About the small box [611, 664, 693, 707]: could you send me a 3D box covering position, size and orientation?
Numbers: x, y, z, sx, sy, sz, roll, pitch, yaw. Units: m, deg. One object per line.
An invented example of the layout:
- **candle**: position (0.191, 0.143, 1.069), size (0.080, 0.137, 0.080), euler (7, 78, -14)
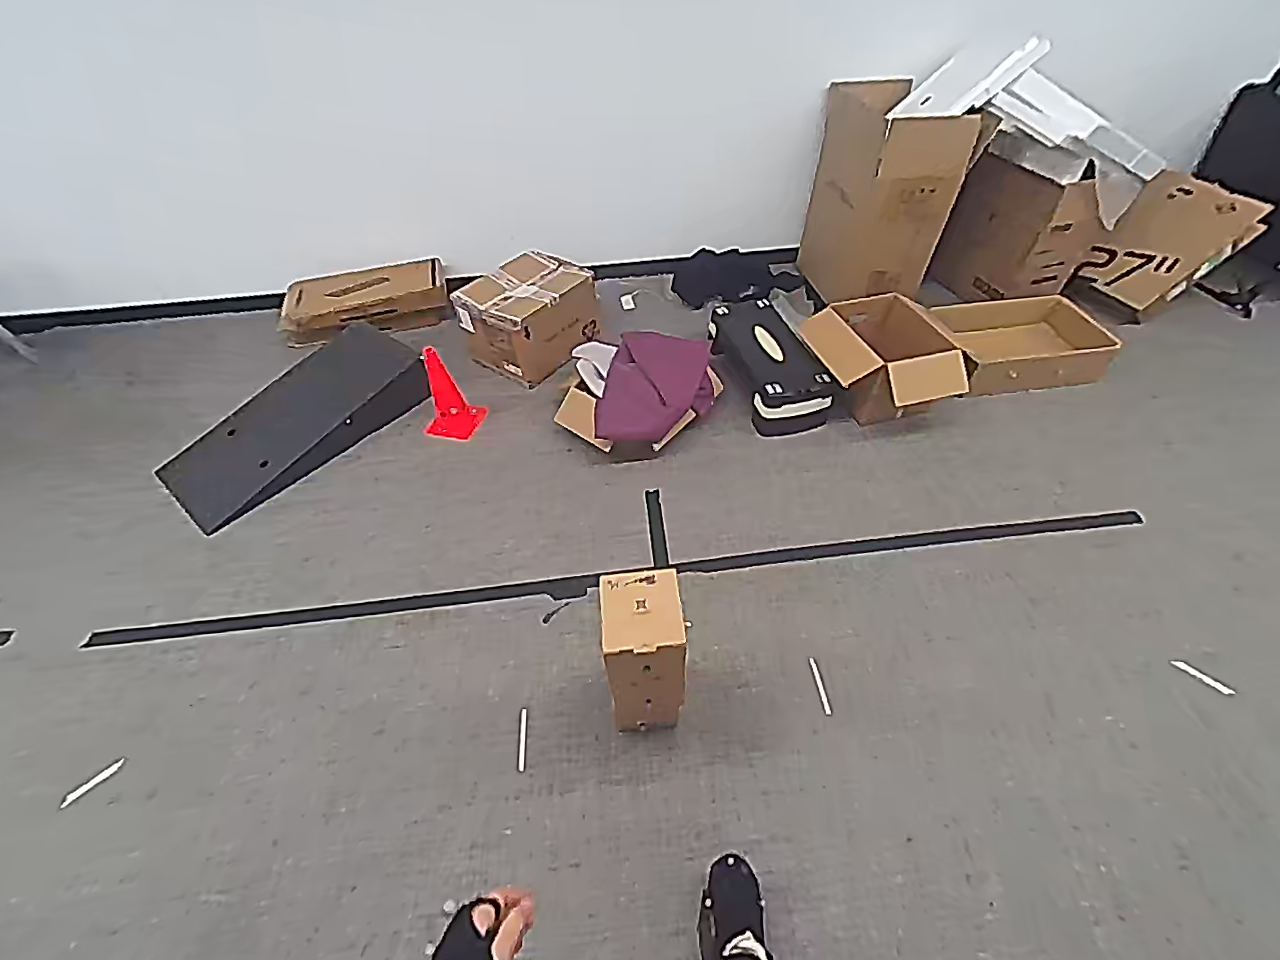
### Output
- **small box**: position (0.021, 0.378, 1.195), size (0.168, 0.176, 0.179), euler (-6, 49, -1)

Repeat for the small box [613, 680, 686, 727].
- **small box**: position (0.018, 0.482, 1.324), size (0.168, 0.176, 0.179), euler (-7, 50, -2)

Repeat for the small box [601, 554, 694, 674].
- **small box**: position (0.014, 0.271, 1.071), size (0.168, 0.176, 0.179), euler (-6, 49, -1)
